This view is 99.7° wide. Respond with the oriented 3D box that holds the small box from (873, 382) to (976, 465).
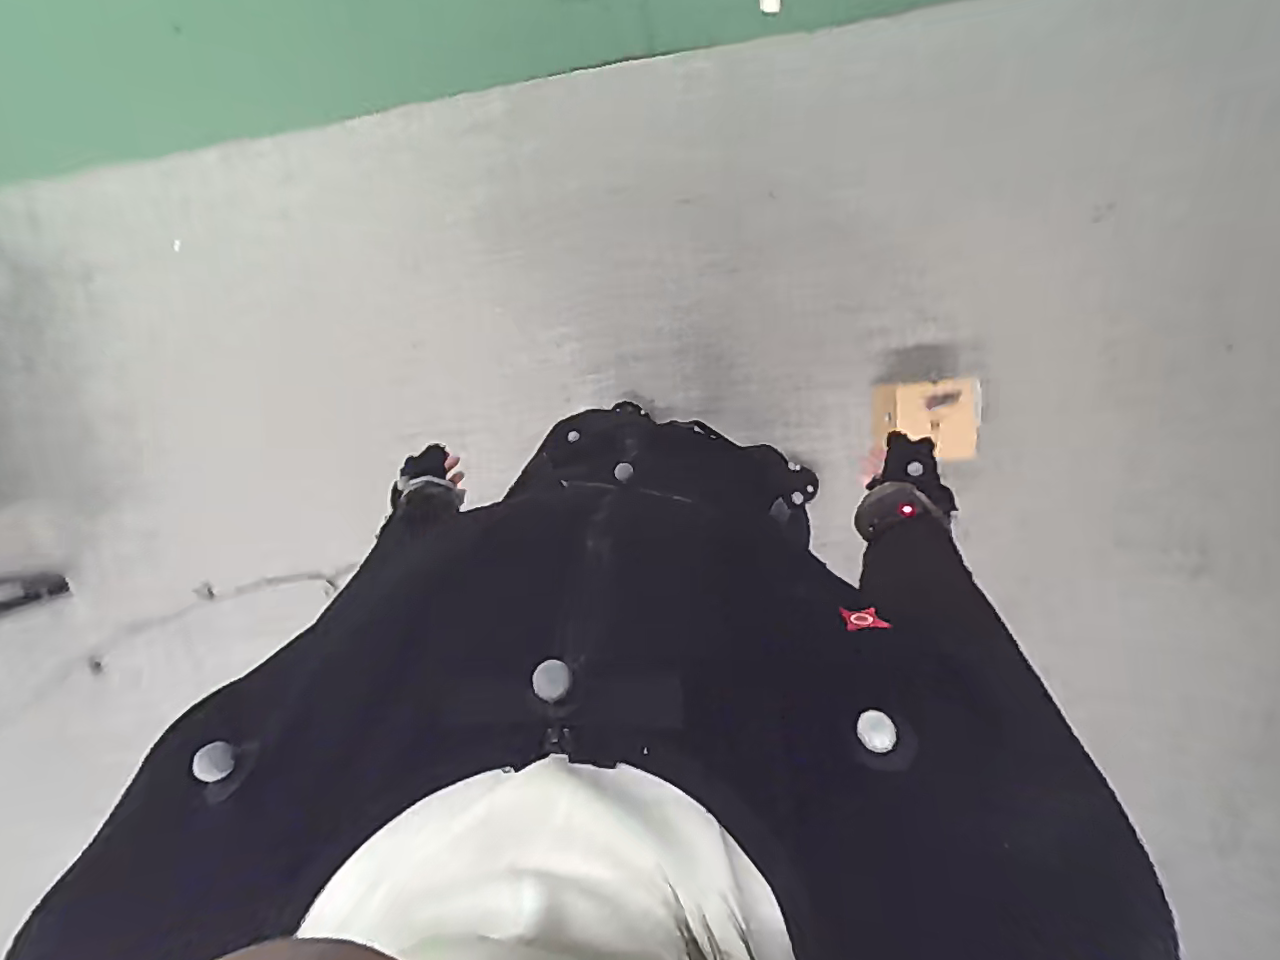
[{"bbox_3d":[0.650,-0.134,1.253,0.168,0.176,0.179,-2,100,8],"label":"small box"}]
